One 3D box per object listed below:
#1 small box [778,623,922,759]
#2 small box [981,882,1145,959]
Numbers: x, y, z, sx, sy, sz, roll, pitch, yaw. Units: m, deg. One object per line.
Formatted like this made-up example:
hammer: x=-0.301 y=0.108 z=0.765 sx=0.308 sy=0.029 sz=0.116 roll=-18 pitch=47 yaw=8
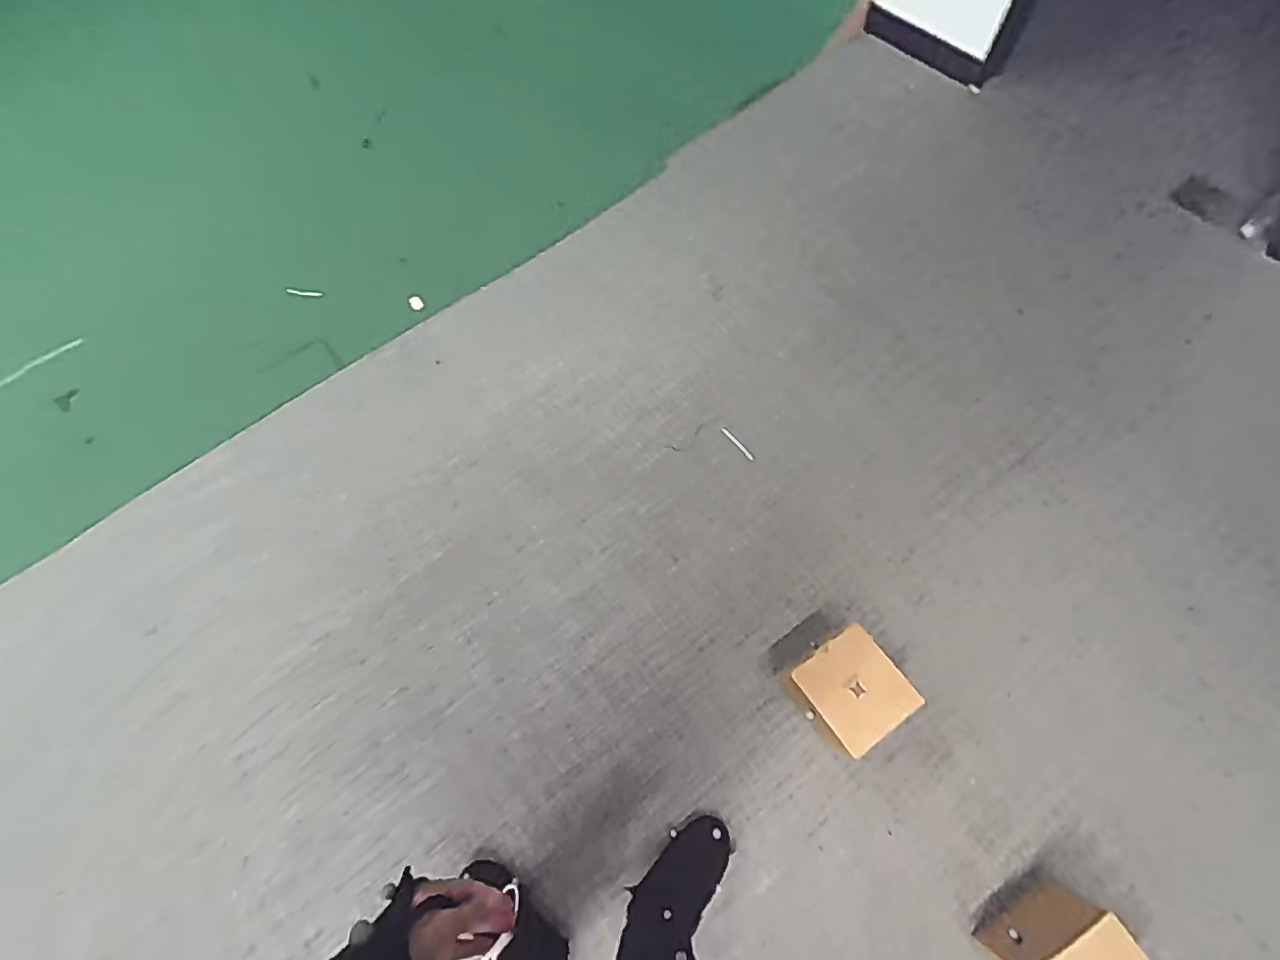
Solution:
small box: x=0.392 y=0.401 z=1.042 sx=0.168 sy=0.176 sz=0.179 roll=-34 pitch=69 yaw=-9
small box: x=0.686 y=0.793 z=0.858 sx=0.179 sy=0.176 sz=0.168 roll=-30 pitch=70 yaw=-8
